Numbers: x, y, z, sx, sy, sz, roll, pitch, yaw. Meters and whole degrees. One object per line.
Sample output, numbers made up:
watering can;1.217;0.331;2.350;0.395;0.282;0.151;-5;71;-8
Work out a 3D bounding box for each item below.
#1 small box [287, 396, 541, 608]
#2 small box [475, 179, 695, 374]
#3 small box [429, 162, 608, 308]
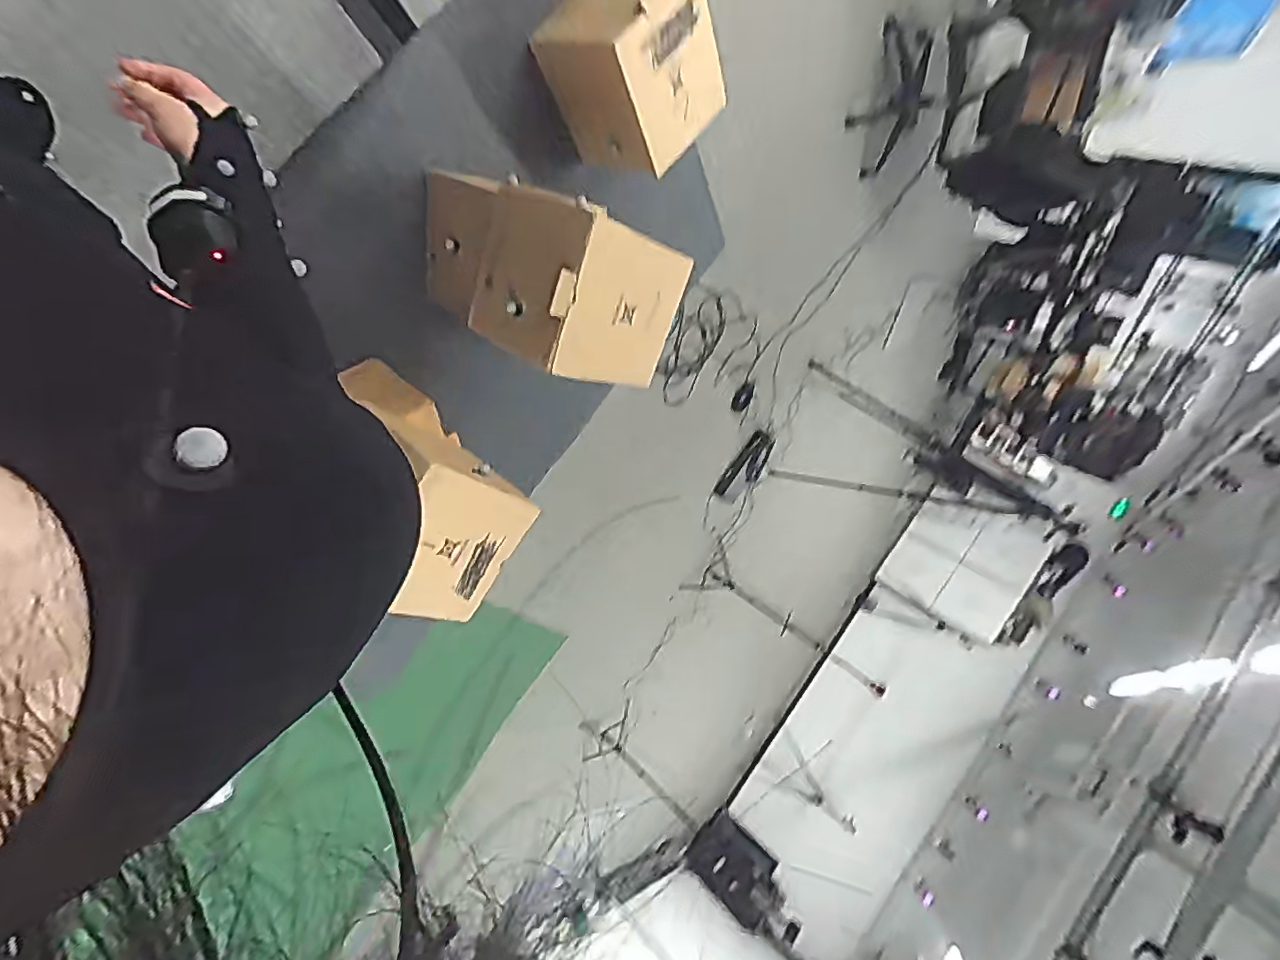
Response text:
small box;-0.258;0.026;0.628;0.168;0.176;0.179;-58;148;-1
small box;-0.071;-0.241;0.651;0.179;0.176;0.168;-6;123;-52
small box;-0.173;-0.327;0.746;0.179;0.176;0.168;-19;132;-44
